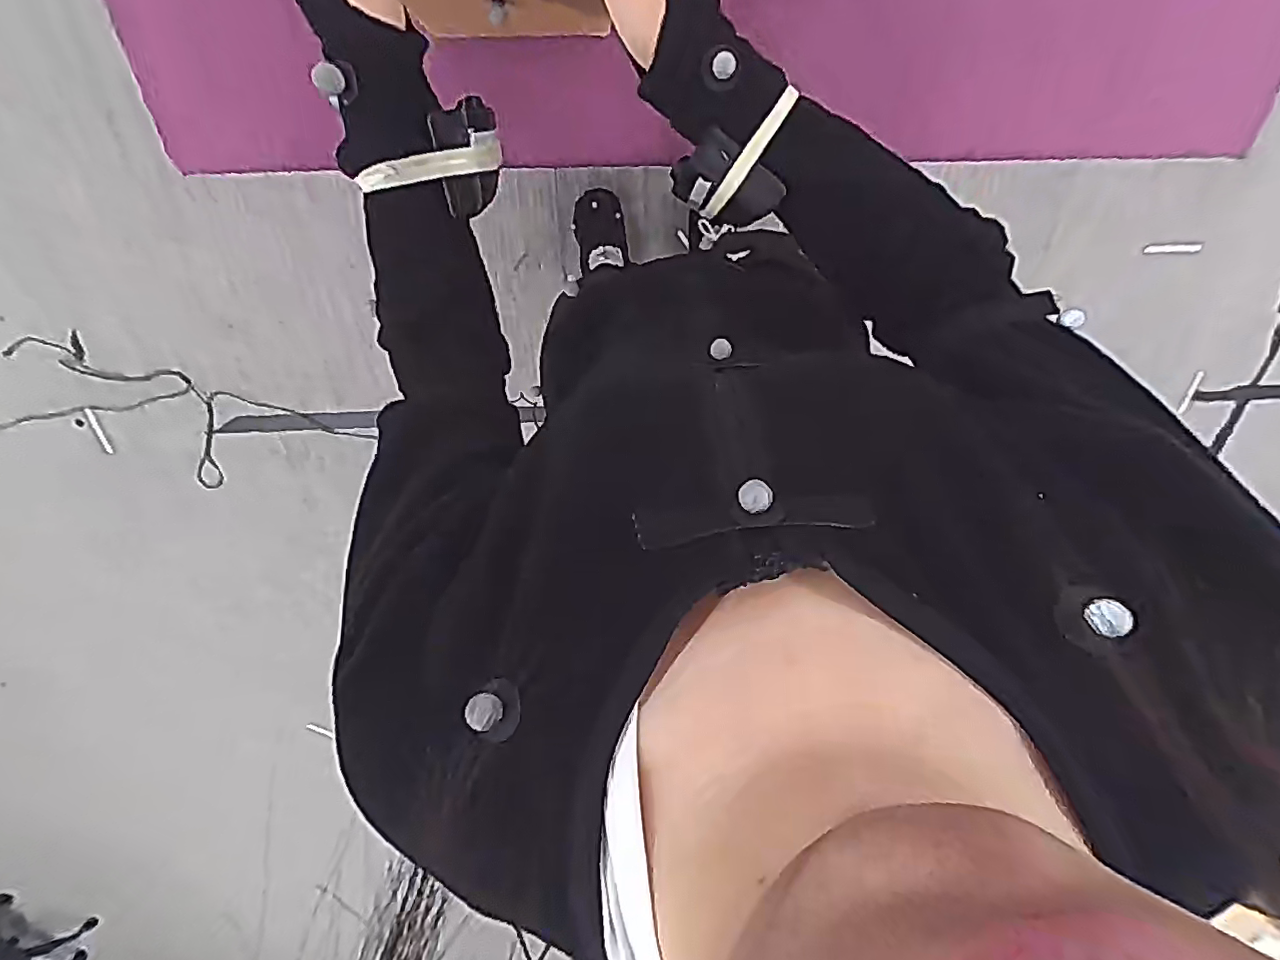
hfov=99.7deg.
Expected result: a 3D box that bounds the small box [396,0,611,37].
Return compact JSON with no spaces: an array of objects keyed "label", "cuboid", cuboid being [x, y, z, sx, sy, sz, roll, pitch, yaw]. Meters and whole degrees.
[{"label":"small box","cuboid":[-0.112,-0.472,0.426,0.179,0.176,0.168,-3,120,-3]}]
